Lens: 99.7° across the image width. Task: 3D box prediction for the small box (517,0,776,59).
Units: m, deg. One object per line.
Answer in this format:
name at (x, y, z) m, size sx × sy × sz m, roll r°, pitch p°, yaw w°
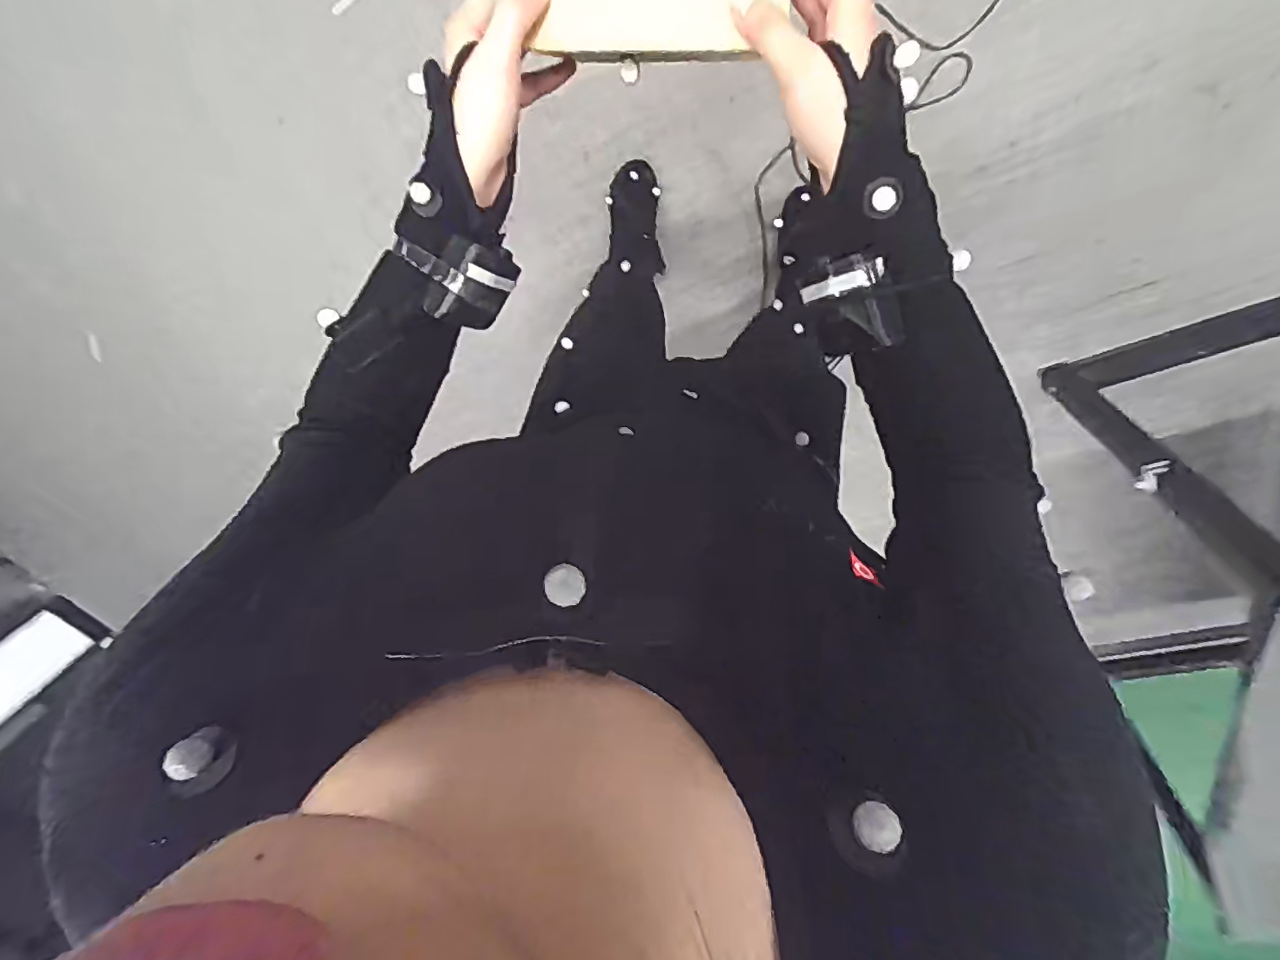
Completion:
small box at (0.014, -0.395, 0.360) m, size 0.168 × 0.176 × 0.179 m, roll 4°, pitch 125°, yaw 5°
